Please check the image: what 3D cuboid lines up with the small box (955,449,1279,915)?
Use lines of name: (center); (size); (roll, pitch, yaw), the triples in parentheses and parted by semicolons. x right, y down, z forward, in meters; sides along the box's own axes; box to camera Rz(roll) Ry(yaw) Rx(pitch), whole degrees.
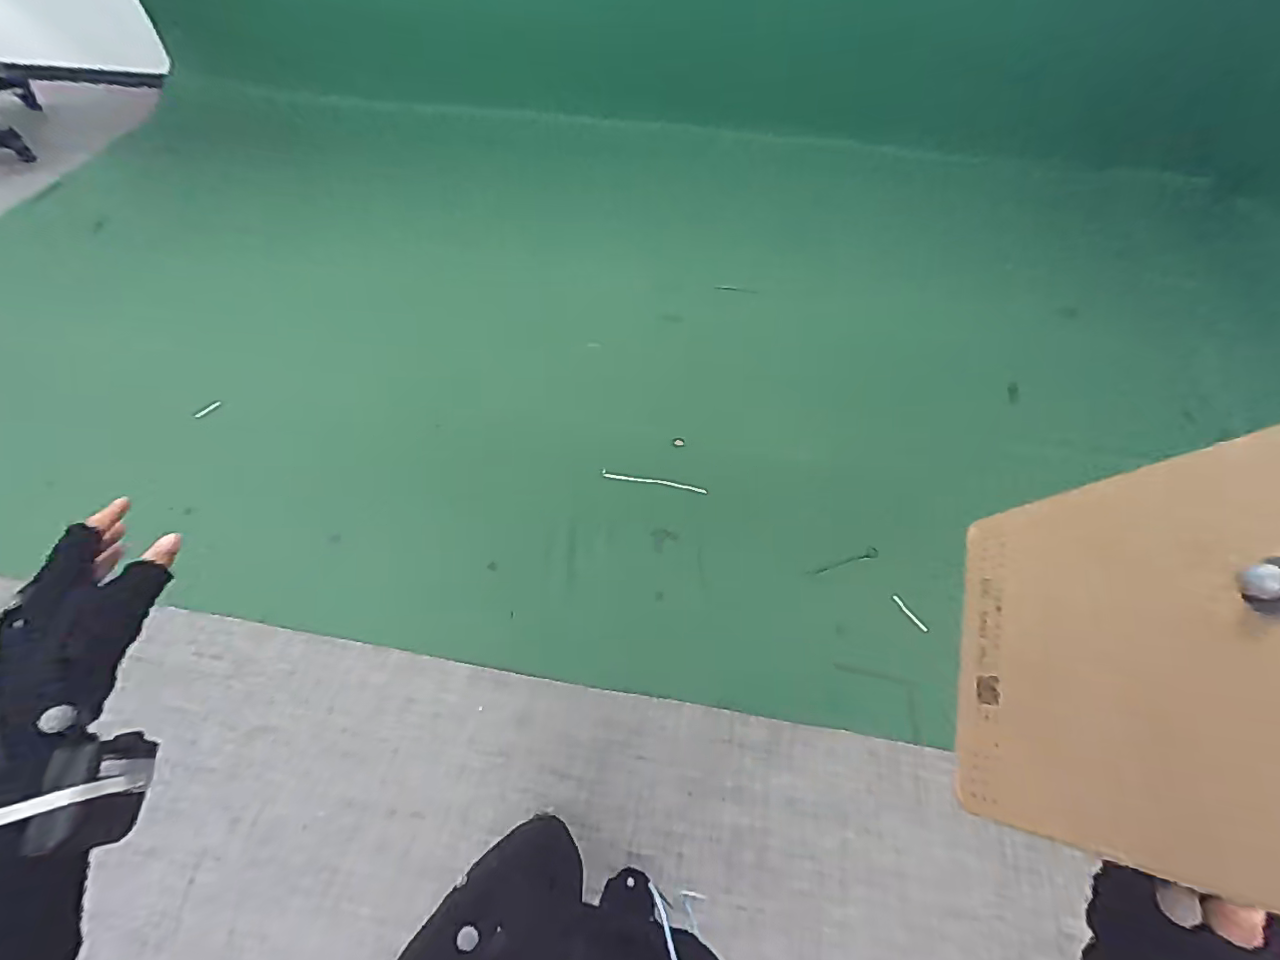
small box: (0.286, 0.102, 0.246); (0.179, 0.176, 0.168); (21, 67, -7)
